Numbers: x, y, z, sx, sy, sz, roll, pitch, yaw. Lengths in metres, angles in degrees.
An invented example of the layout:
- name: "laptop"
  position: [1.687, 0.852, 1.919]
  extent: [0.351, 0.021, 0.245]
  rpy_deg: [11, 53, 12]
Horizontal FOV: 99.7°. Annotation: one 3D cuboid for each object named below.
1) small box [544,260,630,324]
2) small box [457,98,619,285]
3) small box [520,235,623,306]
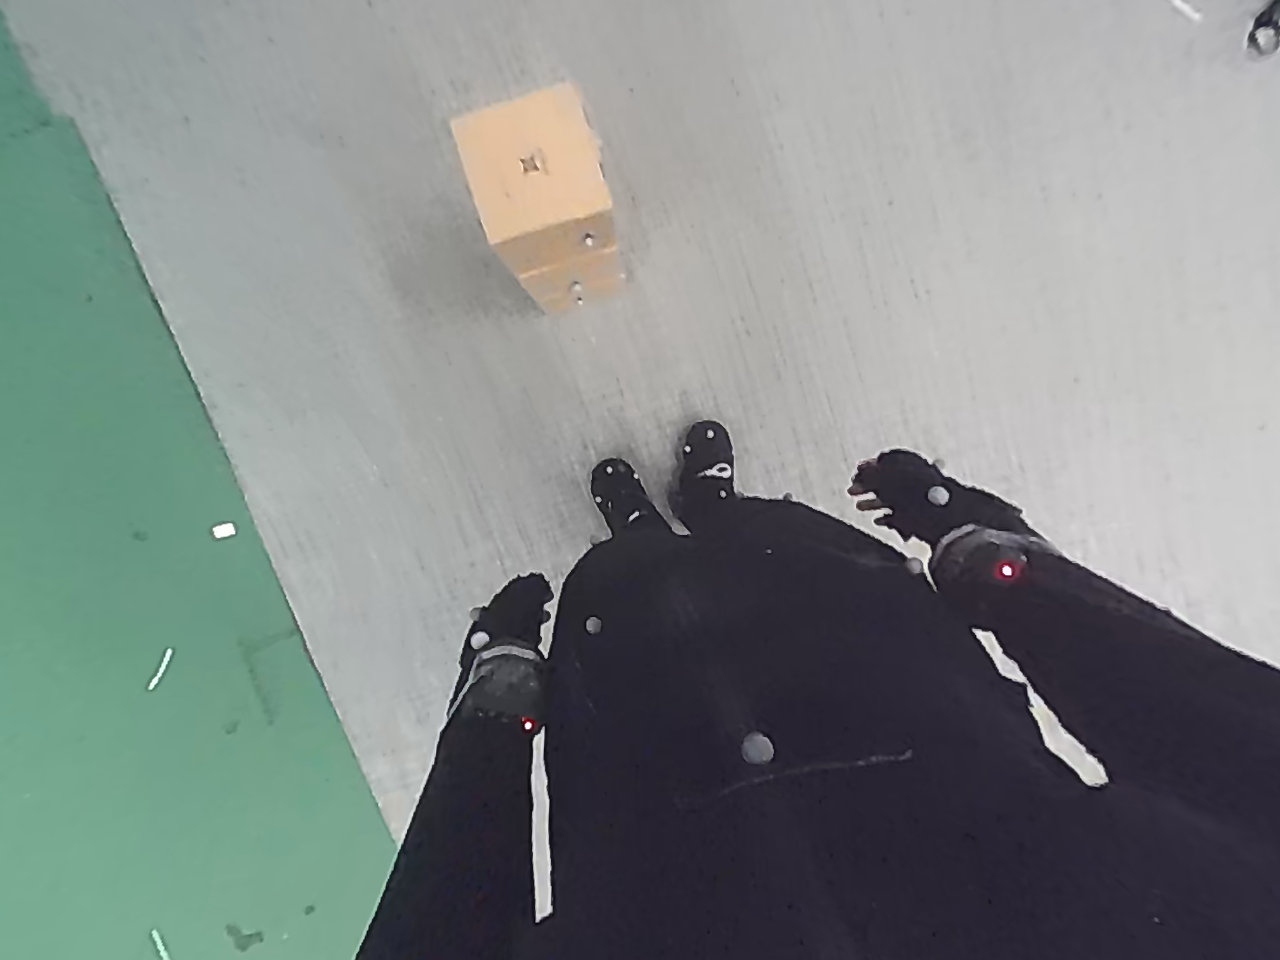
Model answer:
- name: "small box"
  position: [-0.129, -0.437, 1.116]
  extent: [0.179, 0.176, 0.168]
  rpy_deg: [-19, 97, 1]
- name: "small box"
  position: [-0.136, -0.406, 0.792]
  extent: [0.179, 0.176, 0.168]
  rpy_deg: [-17, 96, 2]
- name: "small box"
  position: [-0.134, -0.422, 0.953]
  extent: [0.179, 0.176, 0.168]
  rpy_deg: [-16, 97, 1]
